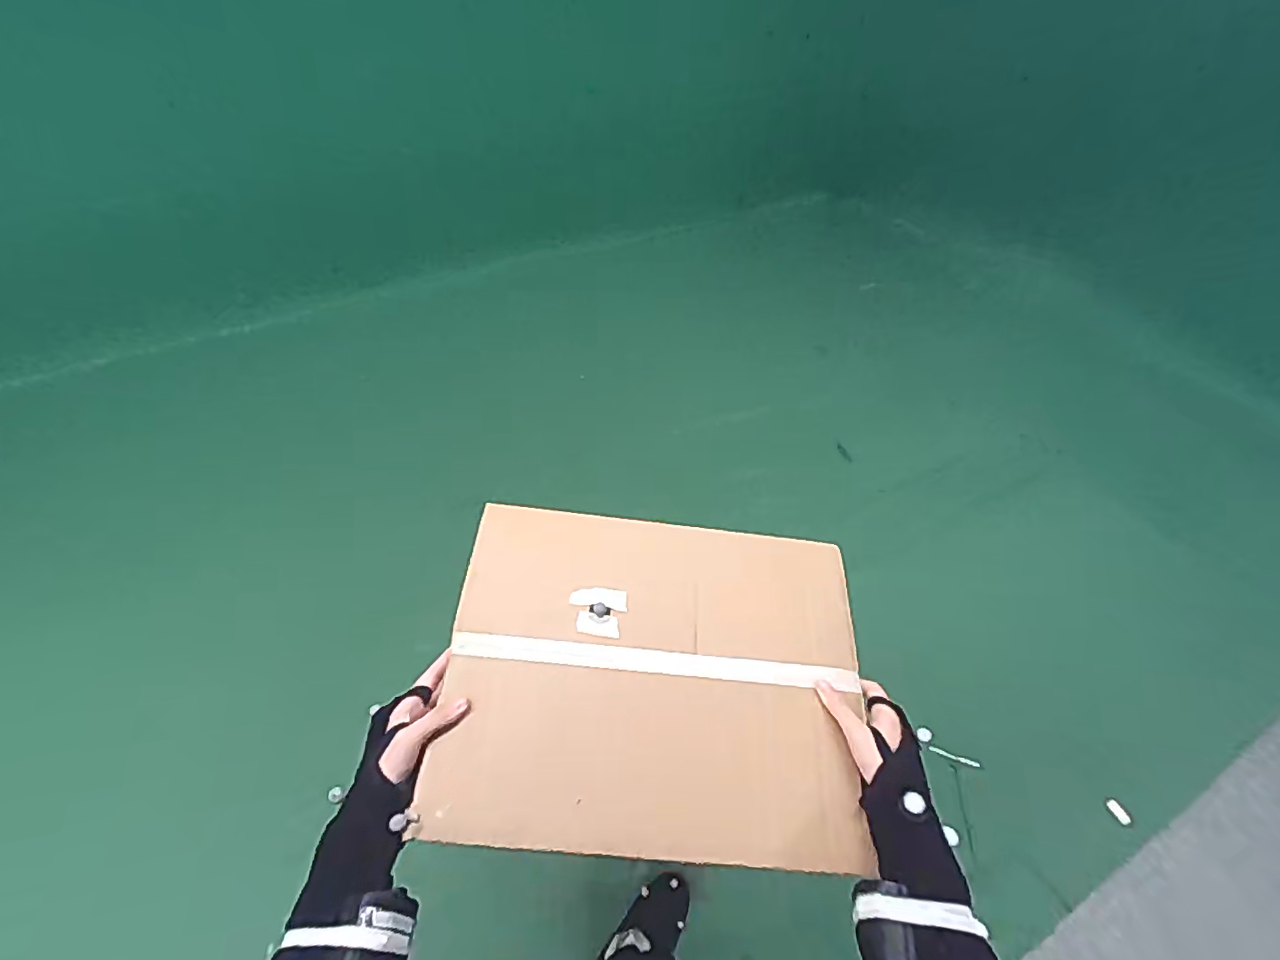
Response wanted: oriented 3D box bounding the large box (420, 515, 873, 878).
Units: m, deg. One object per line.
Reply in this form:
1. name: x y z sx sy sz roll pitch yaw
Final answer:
1. large box: 0.009 0.268 0.669 0.408 0.320 0.320 8 57 -2
